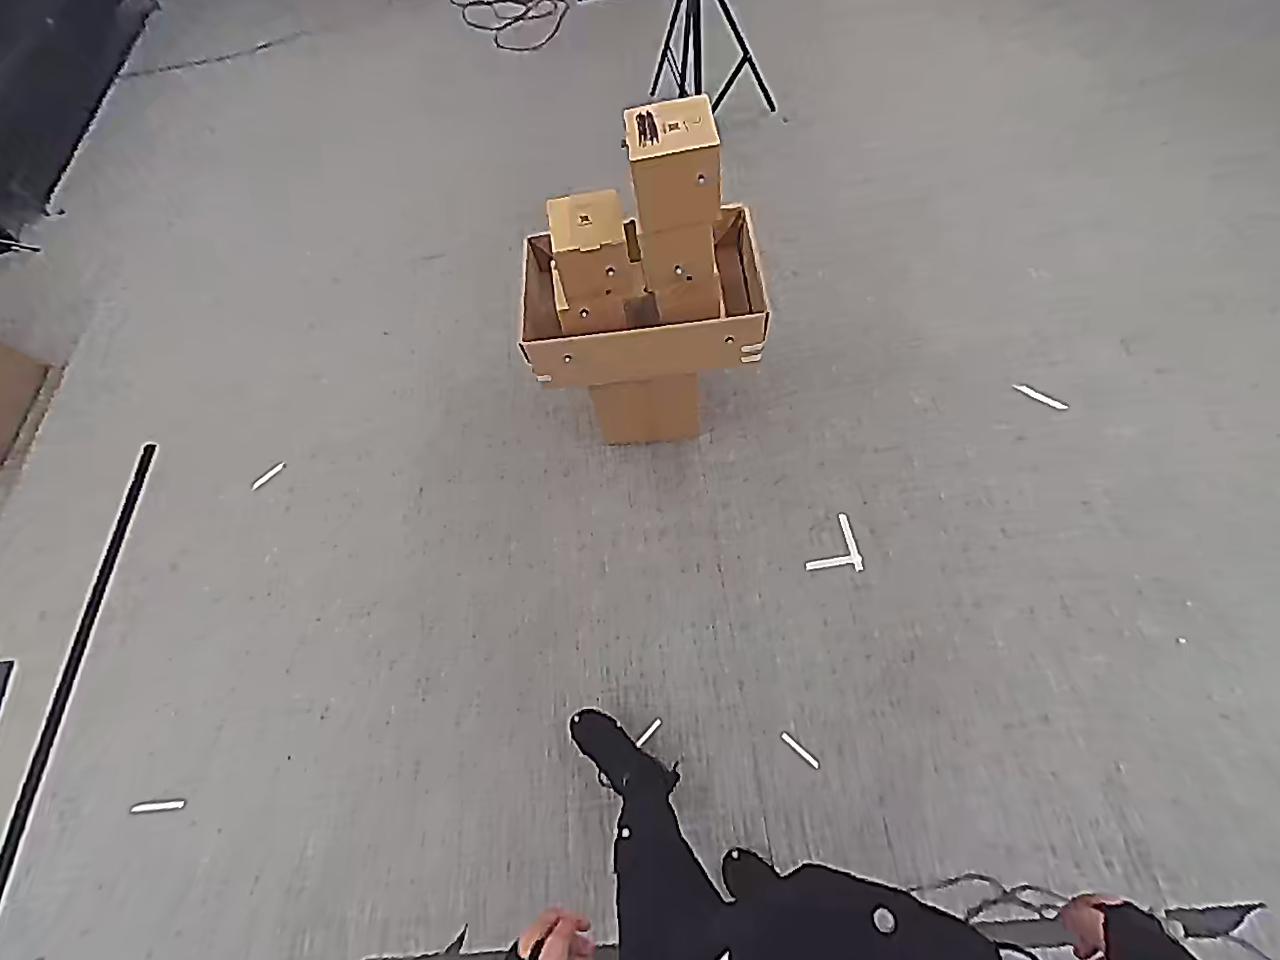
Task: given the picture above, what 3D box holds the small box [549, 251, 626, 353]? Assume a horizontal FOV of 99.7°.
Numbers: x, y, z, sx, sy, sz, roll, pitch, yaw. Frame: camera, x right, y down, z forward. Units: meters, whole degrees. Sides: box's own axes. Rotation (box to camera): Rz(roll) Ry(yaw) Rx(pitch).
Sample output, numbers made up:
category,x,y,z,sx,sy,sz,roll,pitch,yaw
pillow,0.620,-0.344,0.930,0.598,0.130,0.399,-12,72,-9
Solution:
category,x,y,z,sx,sy,sz,roll,pitch,yaw
small box,-0.136,-0.464,1.425,0.168,0.176,0.179,-11,63,2
